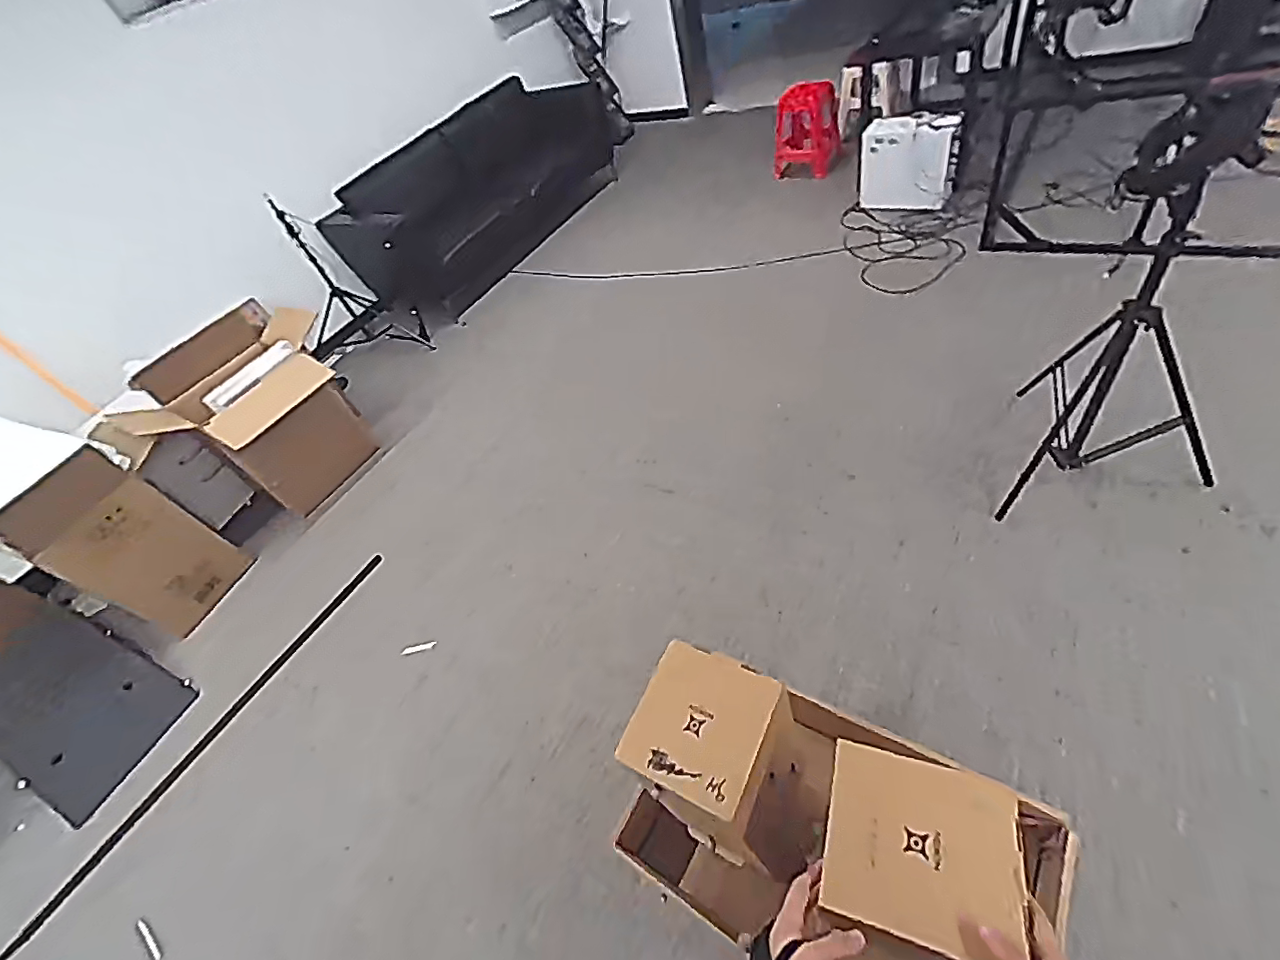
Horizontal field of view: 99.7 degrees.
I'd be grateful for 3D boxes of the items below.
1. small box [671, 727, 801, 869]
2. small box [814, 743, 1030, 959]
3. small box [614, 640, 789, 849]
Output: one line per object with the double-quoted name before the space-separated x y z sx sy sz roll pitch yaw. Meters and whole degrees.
"small box" 0.146 0.467 0.848 0.168 0.176 0.179 14 56 32
"small box" 0.291 0.421 0.585 0.179 0.176 0.168 7 46 23
"small box" 0.095 0.356 0.736 0.168 0.176 0.179 13 54 32
